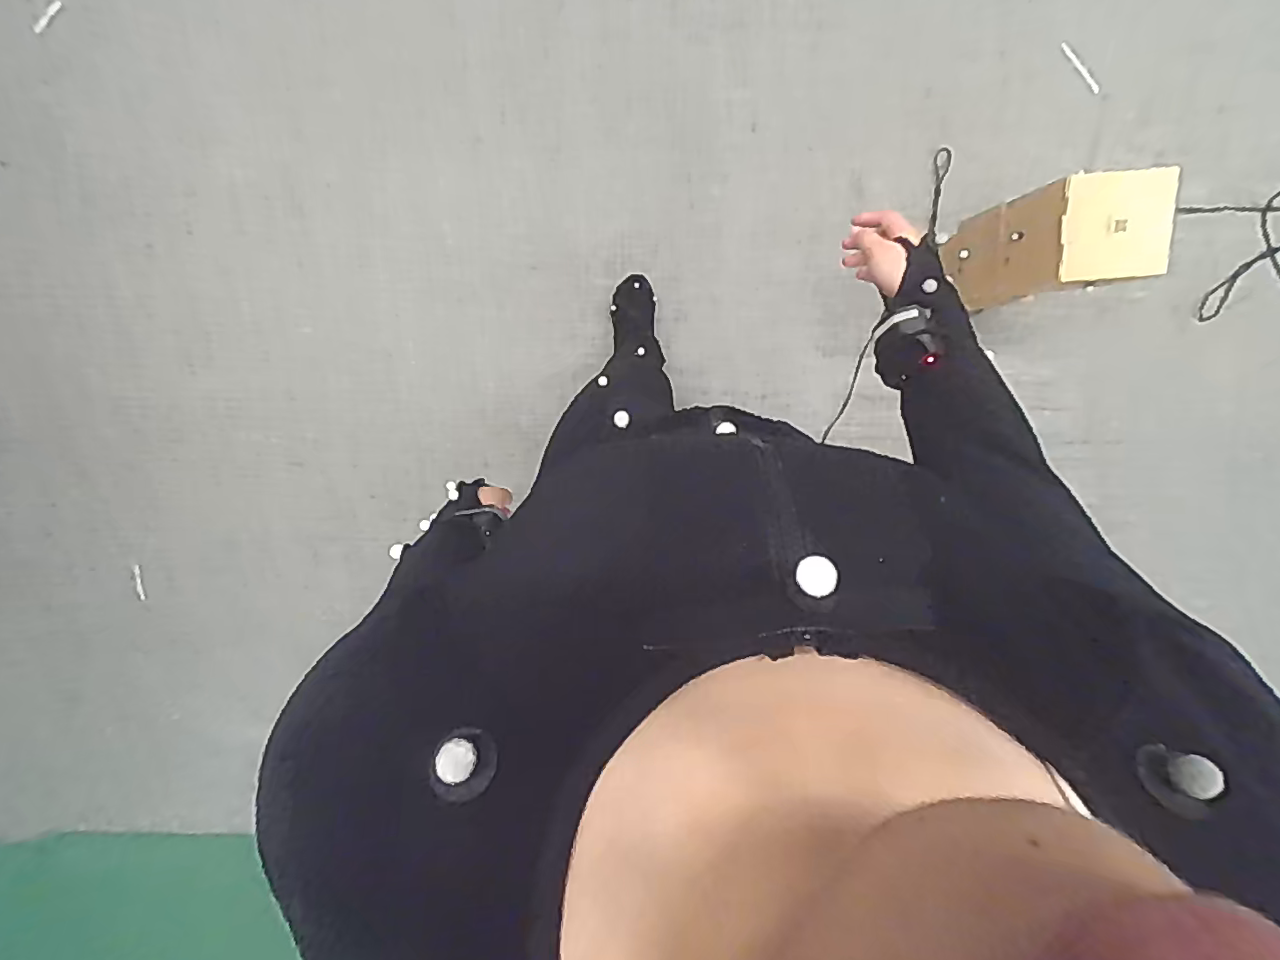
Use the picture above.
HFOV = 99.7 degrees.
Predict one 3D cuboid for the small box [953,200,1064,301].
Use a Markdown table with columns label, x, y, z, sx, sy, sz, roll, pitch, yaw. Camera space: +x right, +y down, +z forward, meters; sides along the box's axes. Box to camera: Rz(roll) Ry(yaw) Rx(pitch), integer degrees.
| label | x | y | z | sx | sy | sz | roll | pitch | yaw |
| --- | --- | --- | --- | --- | --- | --- | --- | --- | --- |
| small box | 0.778 | -0.466 | 1.107 | 0.179 | 0.176 | 0.168 | -3 | 101 | 3 |

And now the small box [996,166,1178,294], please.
| label | x | y | z | sx | sy | sz | roll | pitch | yaw |
| --- | --- | --- | --- | --- | --- | --- | --- | --- | --- |
| small box | 0.770 | -0.428 | 0.949 | 0.179 | 0.176 | 0.168 | -4 | 101 | 3 |

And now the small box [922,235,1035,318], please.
| label | x | y | z | sx | sy | sz | roll | pitch | yaw |
| --- | --- | --- | --- | --- | --- | --- | --- | --- | --- |
| small box | 0.786 | -0.481 | 1.270 | 0.179 | 0.176 | 0.168 | -7 | 102 | 2 |
